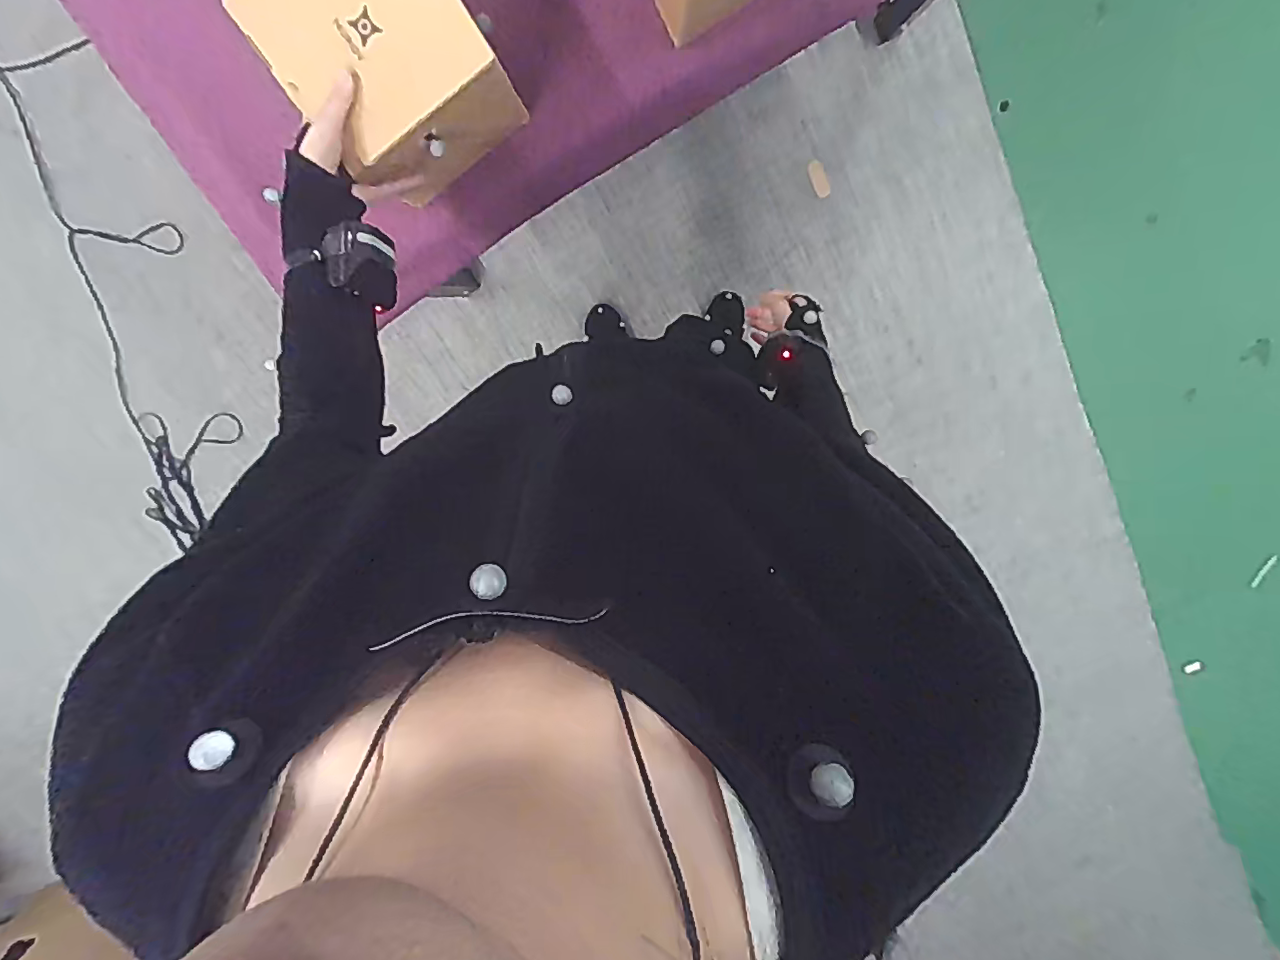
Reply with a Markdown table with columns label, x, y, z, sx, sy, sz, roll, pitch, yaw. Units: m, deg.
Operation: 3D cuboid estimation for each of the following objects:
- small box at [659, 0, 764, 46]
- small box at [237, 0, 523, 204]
| label | x | y | z | sx | sy | sz | roll | pitch | yaw |
| --- | --- | --- | --- | --- | --- | --- | --- | --- | --- |
| small box | 0.081 | -0.567 | 0.507 | 0.179 | 0.176 | 0.168 | -28 | 106 | 8 |
| small box | -0.238 | -0.415 | 0.553 | 0.179 | 0.176 | 0.168 | -32 | 106 | 11 |
